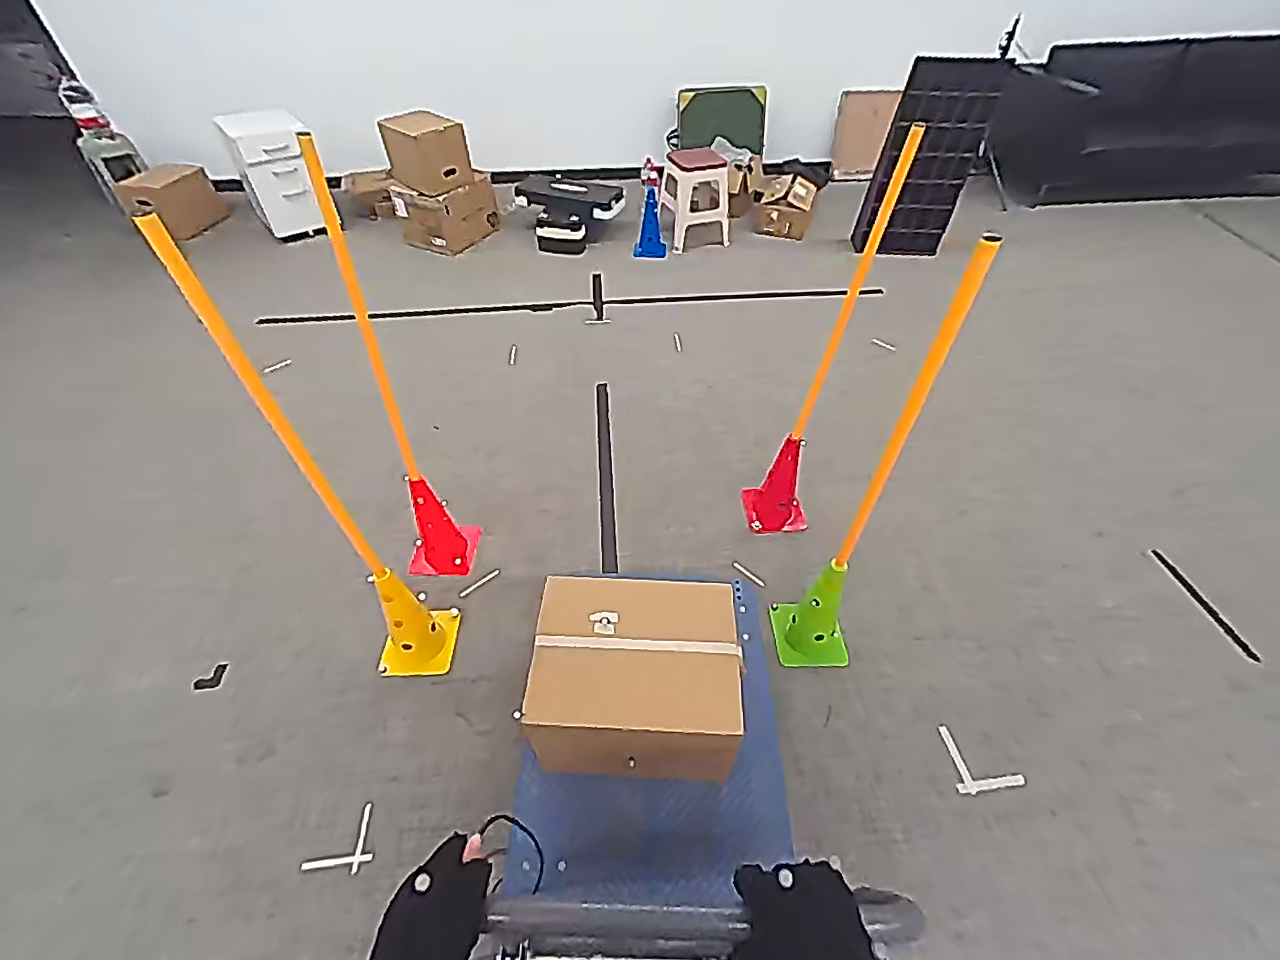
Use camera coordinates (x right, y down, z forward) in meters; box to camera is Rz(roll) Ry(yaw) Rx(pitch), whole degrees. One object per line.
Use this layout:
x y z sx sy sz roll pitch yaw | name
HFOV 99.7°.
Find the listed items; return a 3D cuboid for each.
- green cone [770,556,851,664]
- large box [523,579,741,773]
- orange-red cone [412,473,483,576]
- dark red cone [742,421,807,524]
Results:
0.500 0.332 1.478 0.202 0.368 0.200 0 47 -2 | green cone
-0.007 0.433 1.185 0.408 0.320 0.320 2 47 3 | large box
-0.639 0.113 1.687 0.198 0.360 0.199 3 45 1 | orange-red cone
0.480 -0.033 1.798 0.201 0.394 0.202 -2 47 -5 | dark red cone
